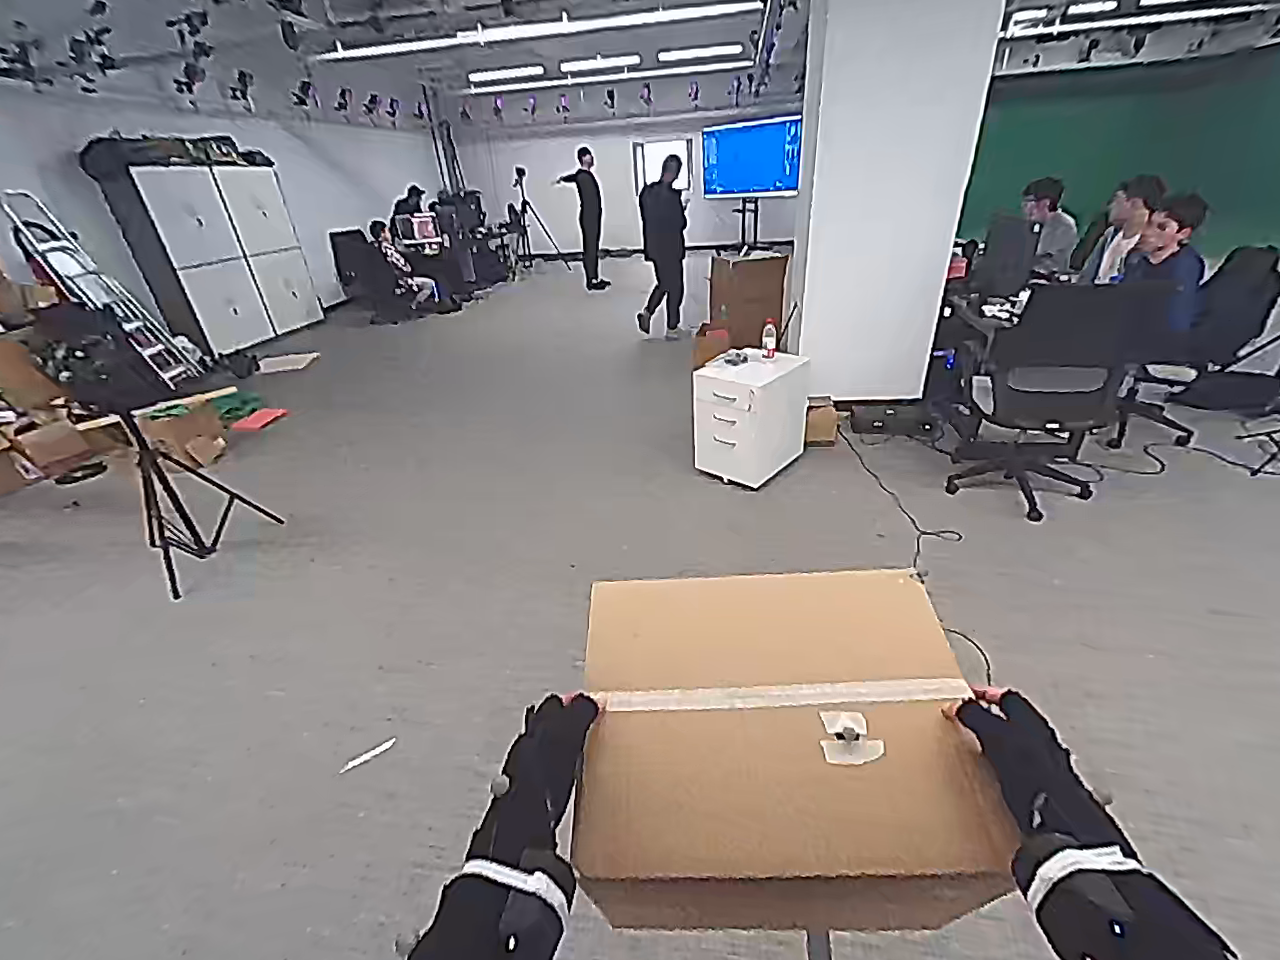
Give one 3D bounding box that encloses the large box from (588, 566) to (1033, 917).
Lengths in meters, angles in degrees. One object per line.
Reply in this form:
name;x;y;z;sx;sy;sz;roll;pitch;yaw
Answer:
large box;0.159;0.334;0.690;0.408;0.320;0.320;-3;44;4
